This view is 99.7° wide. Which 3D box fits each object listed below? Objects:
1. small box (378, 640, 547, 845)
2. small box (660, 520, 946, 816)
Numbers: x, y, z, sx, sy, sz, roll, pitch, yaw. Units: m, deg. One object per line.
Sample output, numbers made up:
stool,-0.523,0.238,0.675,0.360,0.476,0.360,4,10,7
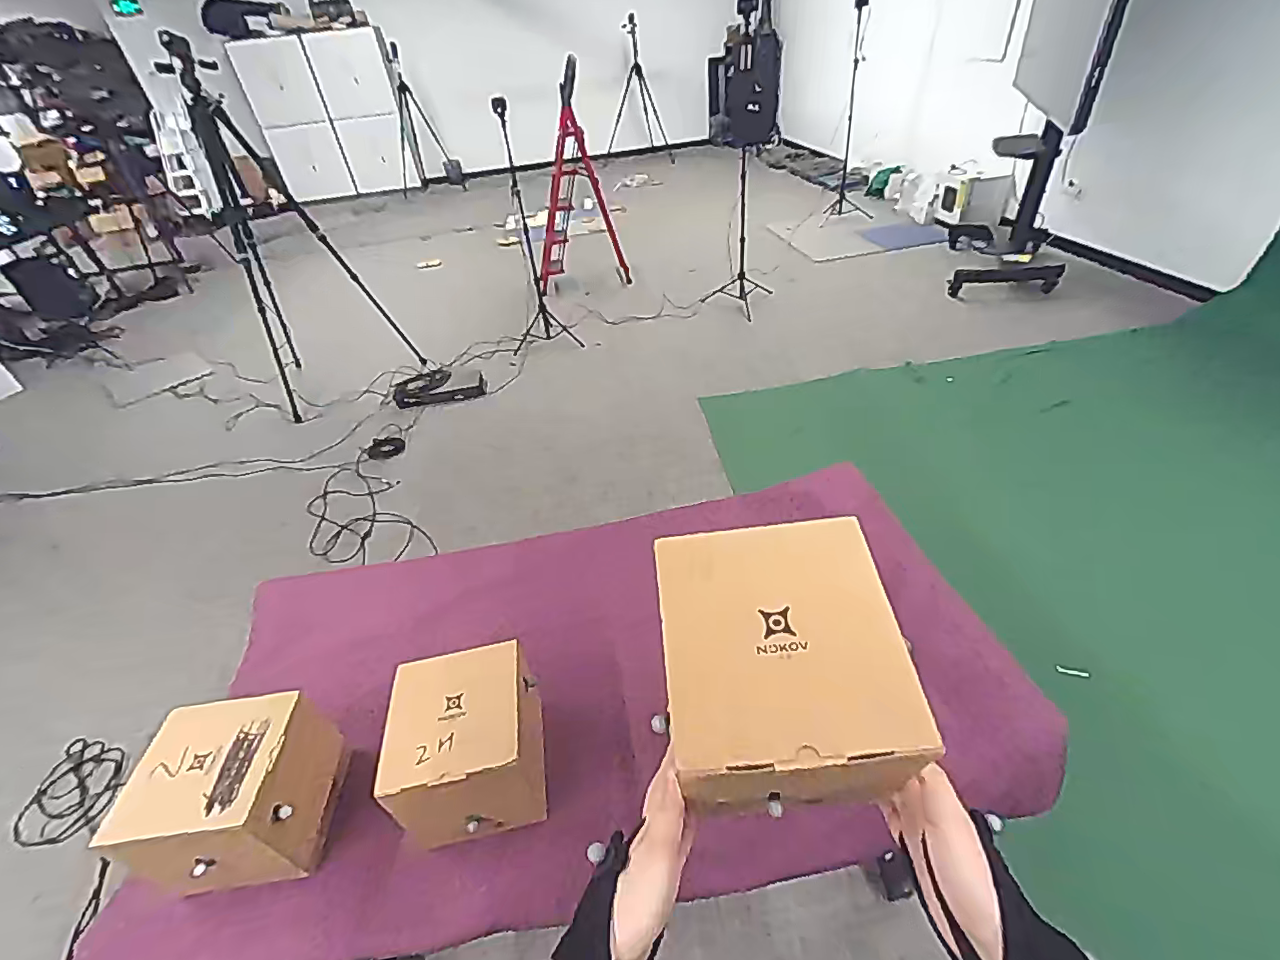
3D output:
small box,-0.224,0.350,0.730,0.168,0.176,0.179,-11,38,-5
small box,0.108,0.157,0.445,0.168,0.176,0.179,-7,51,2
